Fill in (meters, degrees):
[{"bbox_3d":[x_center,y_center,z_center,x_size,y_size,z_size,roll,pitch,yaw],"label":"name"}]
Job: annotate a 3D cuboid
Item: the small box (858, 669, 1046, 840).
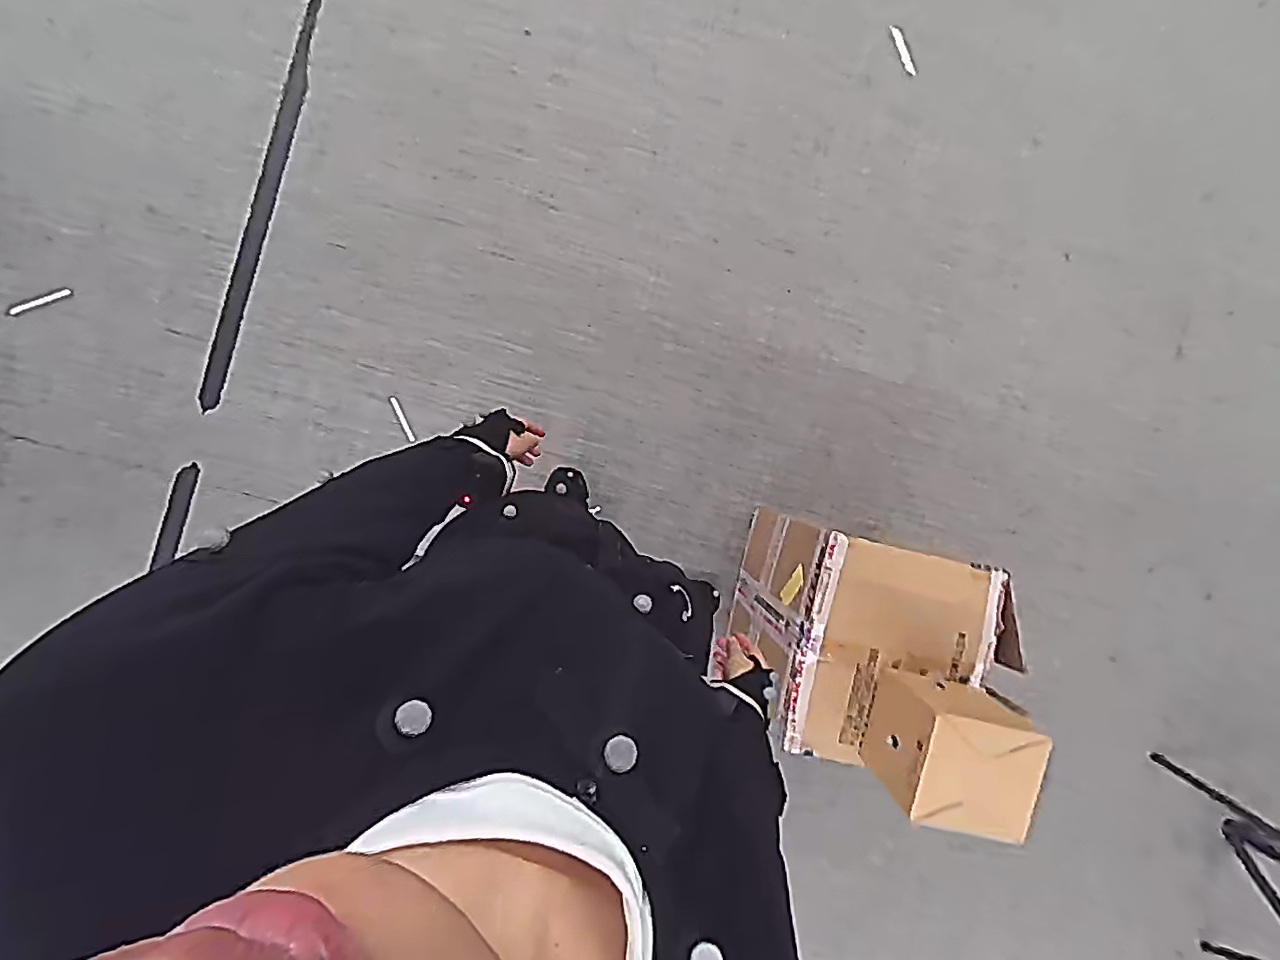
[{"bbox_3d":[0.479,0.422,0.850,0.179,0.176,0.168,13,93,-2],"label":"small box"}]
